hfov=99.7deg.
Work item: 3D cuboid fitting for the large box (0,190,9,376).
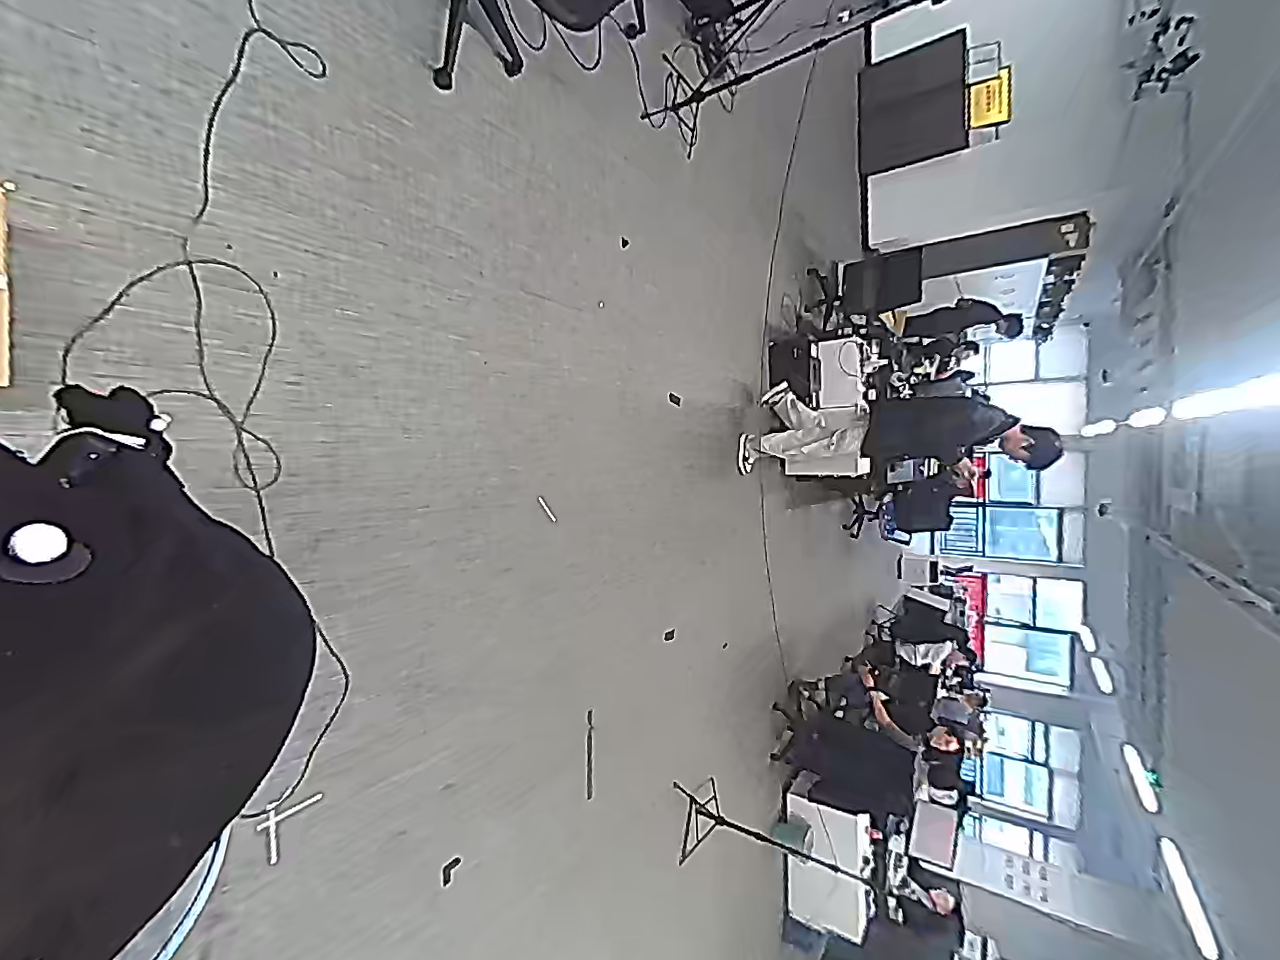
[{"bbox_3d":[-1.188,-0.300,0.726,0.408,0.320,0.320,-2,93,-56],"label":"large box"}]
